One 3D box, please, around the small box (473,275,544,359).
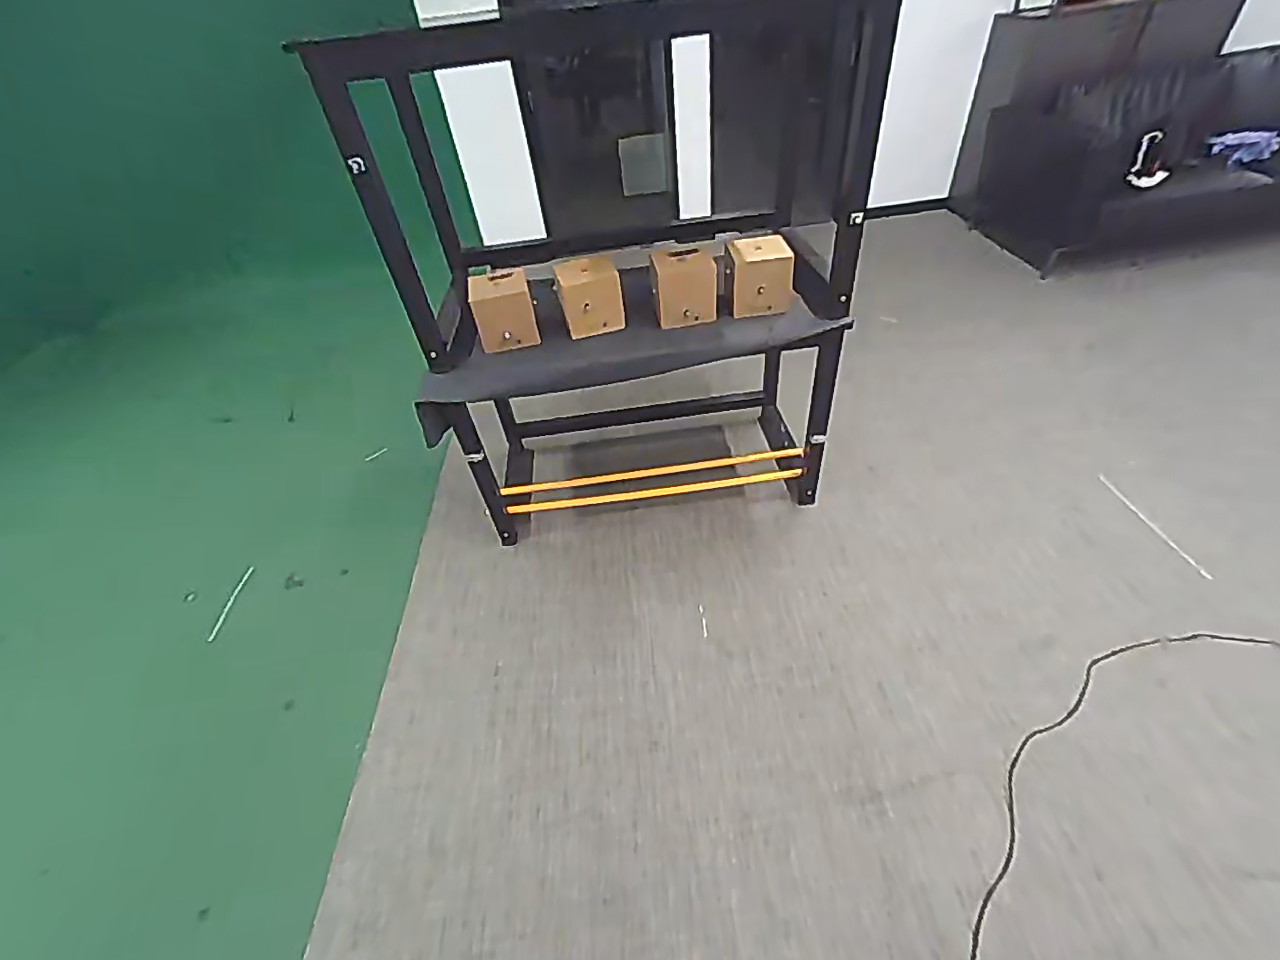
[{"bbox_3d":[-0.389,-0.483,1.604,0.168,0.176,0.179,-13,43,-6],"label":"small box"}]
